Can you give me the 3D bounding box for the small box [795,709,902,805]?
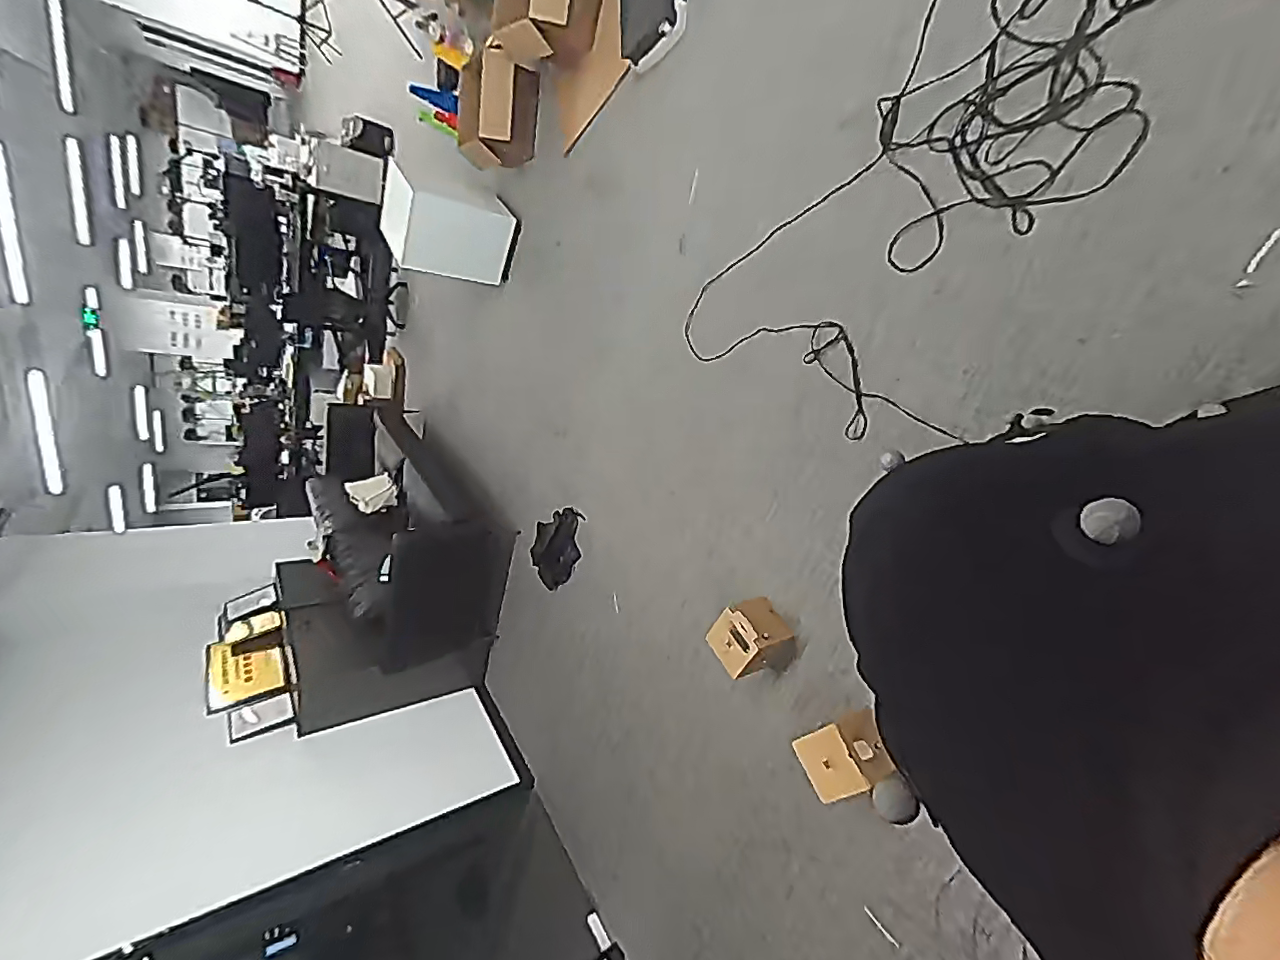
[{"bbox_3d":[0.567,0.751,1.471,0.179,0.176,0.168,-52,53,39],"label":"small box"}]
